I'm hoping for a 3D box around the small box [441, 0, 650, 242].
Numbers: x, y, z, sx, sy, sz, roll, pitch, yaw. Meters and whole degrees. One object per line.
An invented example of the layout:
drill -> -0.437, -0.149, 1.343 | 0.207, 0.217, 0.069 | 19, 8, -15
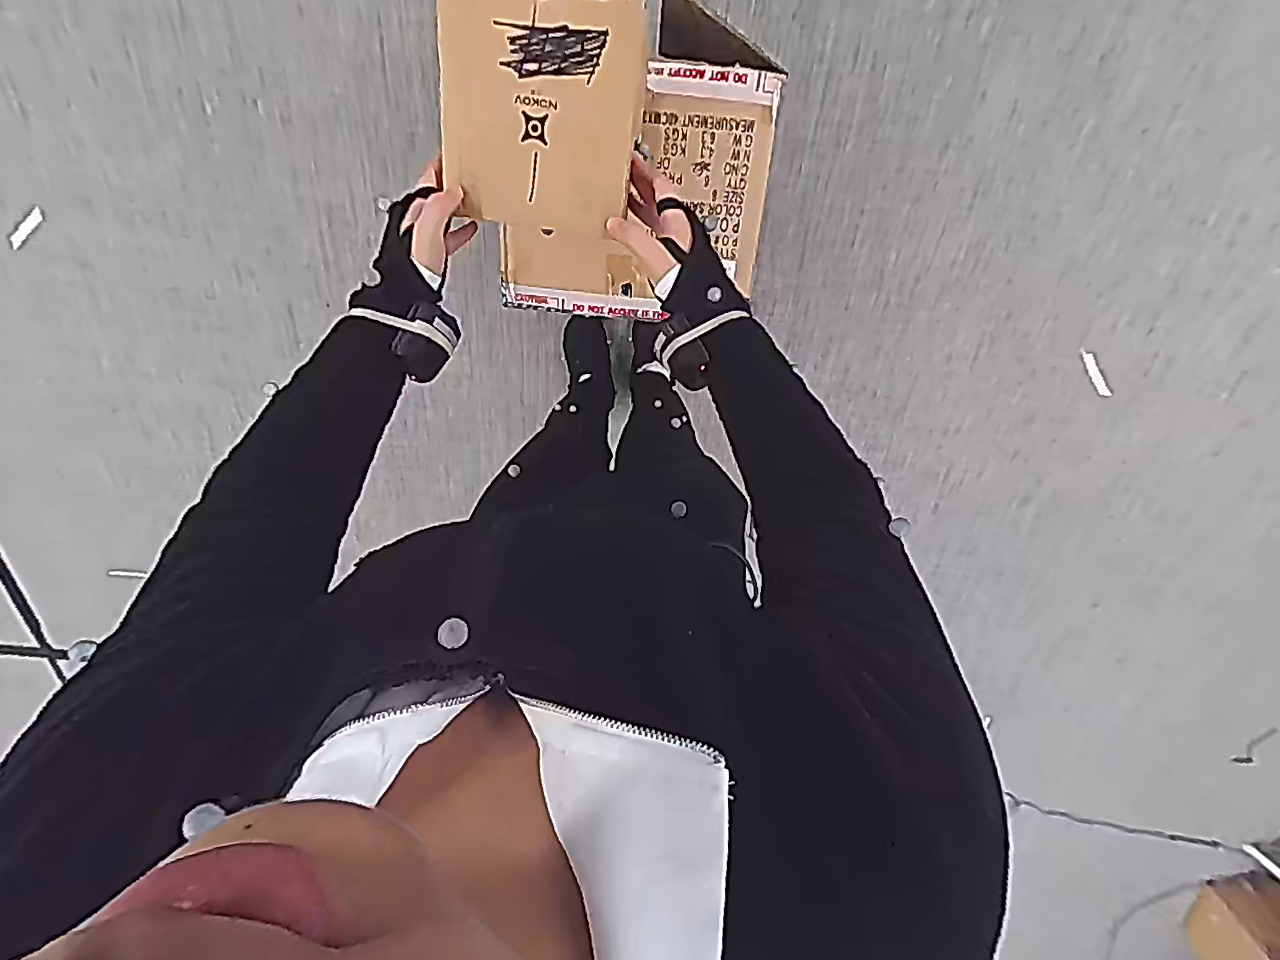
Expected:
small box -> -0.085, -0.348, 0.530 | 0.168, 0.176, 0.179 | 8, 120, -3
